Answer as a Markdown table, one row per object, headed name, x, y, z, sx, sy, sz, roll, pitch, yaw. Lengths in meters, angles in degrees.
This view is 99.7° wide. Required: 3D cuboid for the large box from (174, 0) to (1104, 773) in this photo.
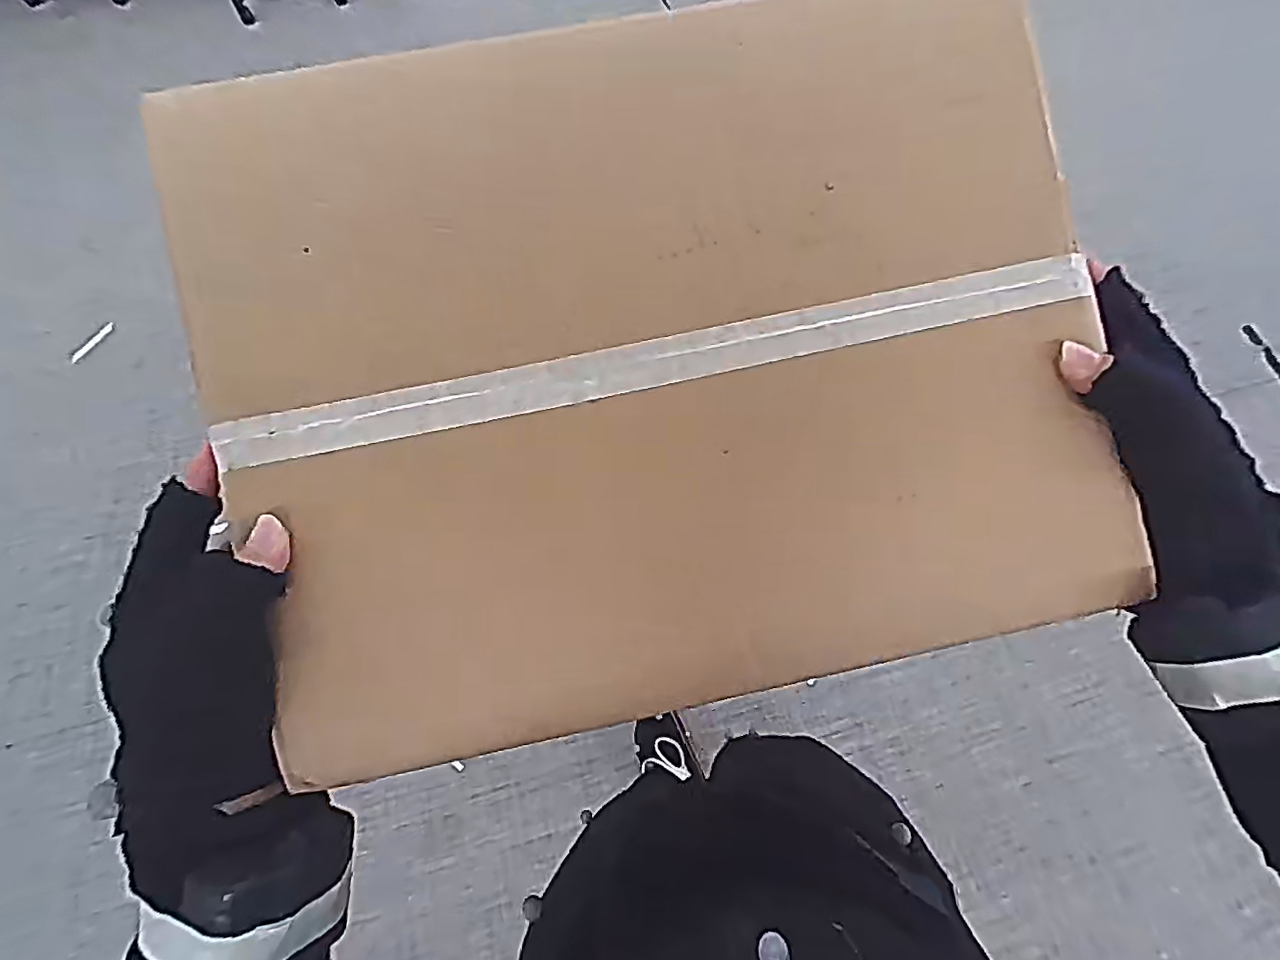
| name | x | y | z | sx | sy | sz | roll | pitch | yaw |
| --- | --- | --- | --- | --- | --- | --- | --- | --- | --- |
| large box | 0.004 | -0.055 | 0.407 | 0.408 | 0.320 | 0.320 | -12 | 90 | -3 |
